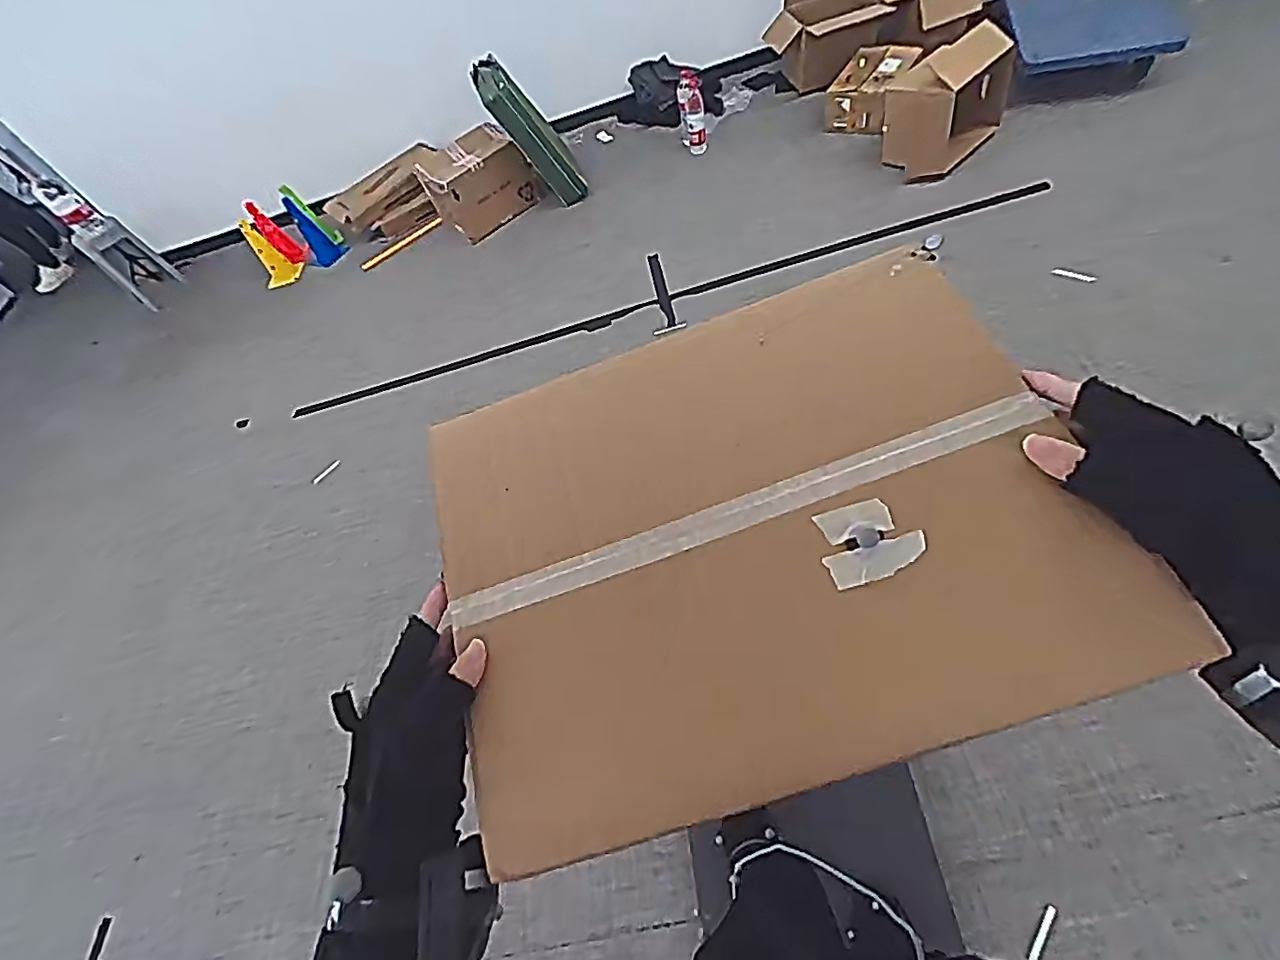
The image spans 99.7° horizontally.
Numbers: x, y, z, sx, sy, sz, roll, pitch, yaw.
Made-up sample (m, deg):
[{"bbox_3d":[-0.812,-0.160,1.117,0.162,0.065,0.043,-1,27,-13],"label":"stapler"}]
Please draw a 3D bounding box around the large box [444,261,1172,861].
[{"bbox_3d":[0.094,0.085,0.503,0.408,0.320,0.320,-20,64,4],"label":"large box"}]
